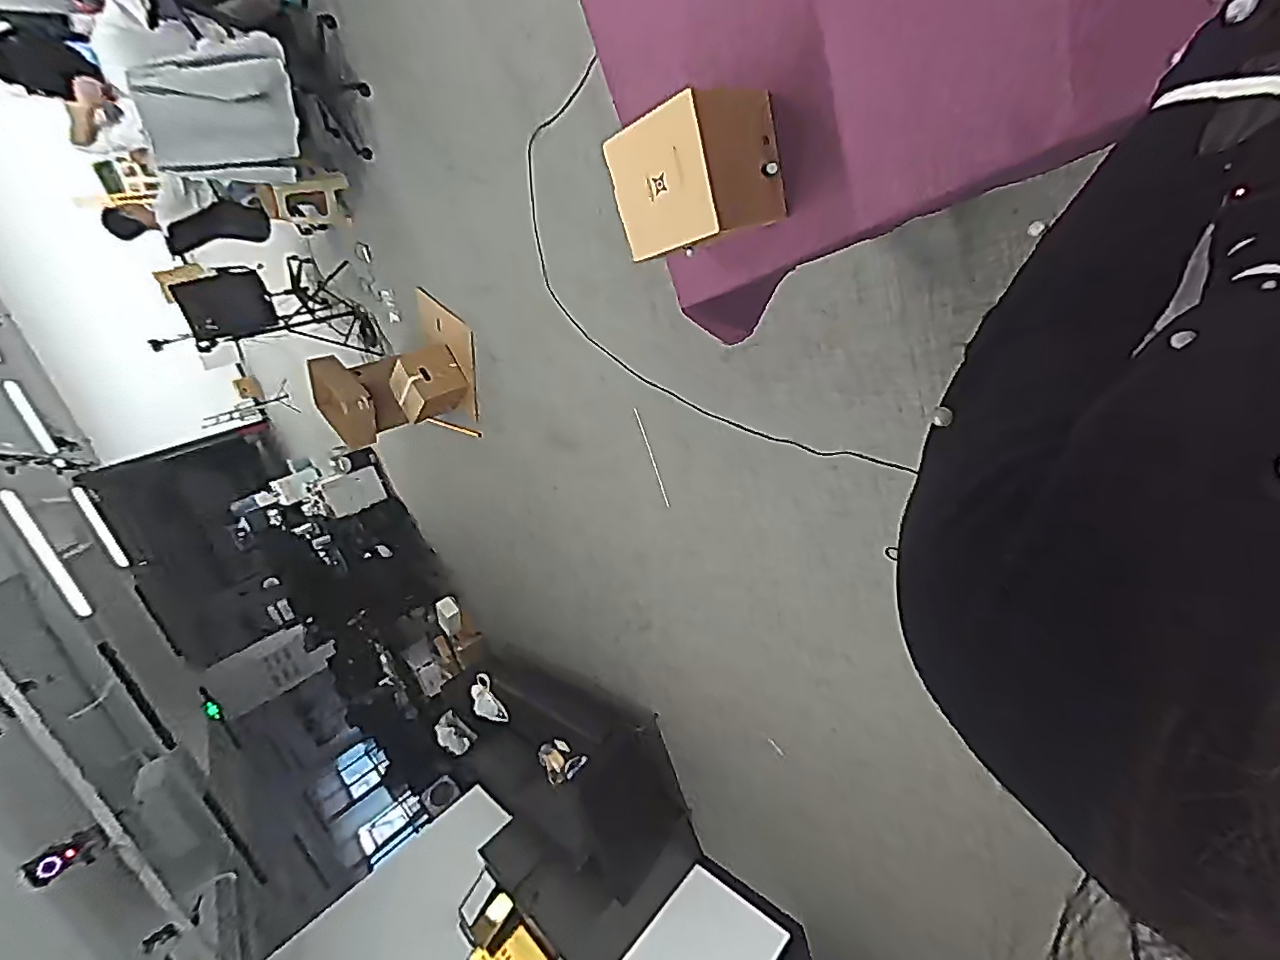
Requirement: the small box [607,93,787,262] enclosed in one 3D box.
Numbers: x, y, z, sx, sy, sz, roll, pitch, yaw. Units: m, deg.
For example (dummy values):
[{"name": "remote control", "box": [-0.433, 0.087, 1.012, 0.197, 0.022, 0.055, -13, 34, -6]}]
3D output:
[{"name": "small box", "box": [0.085, -0.430, 0.786, 0.179, 0.176, 0.168, 6, 118, 48]}]
